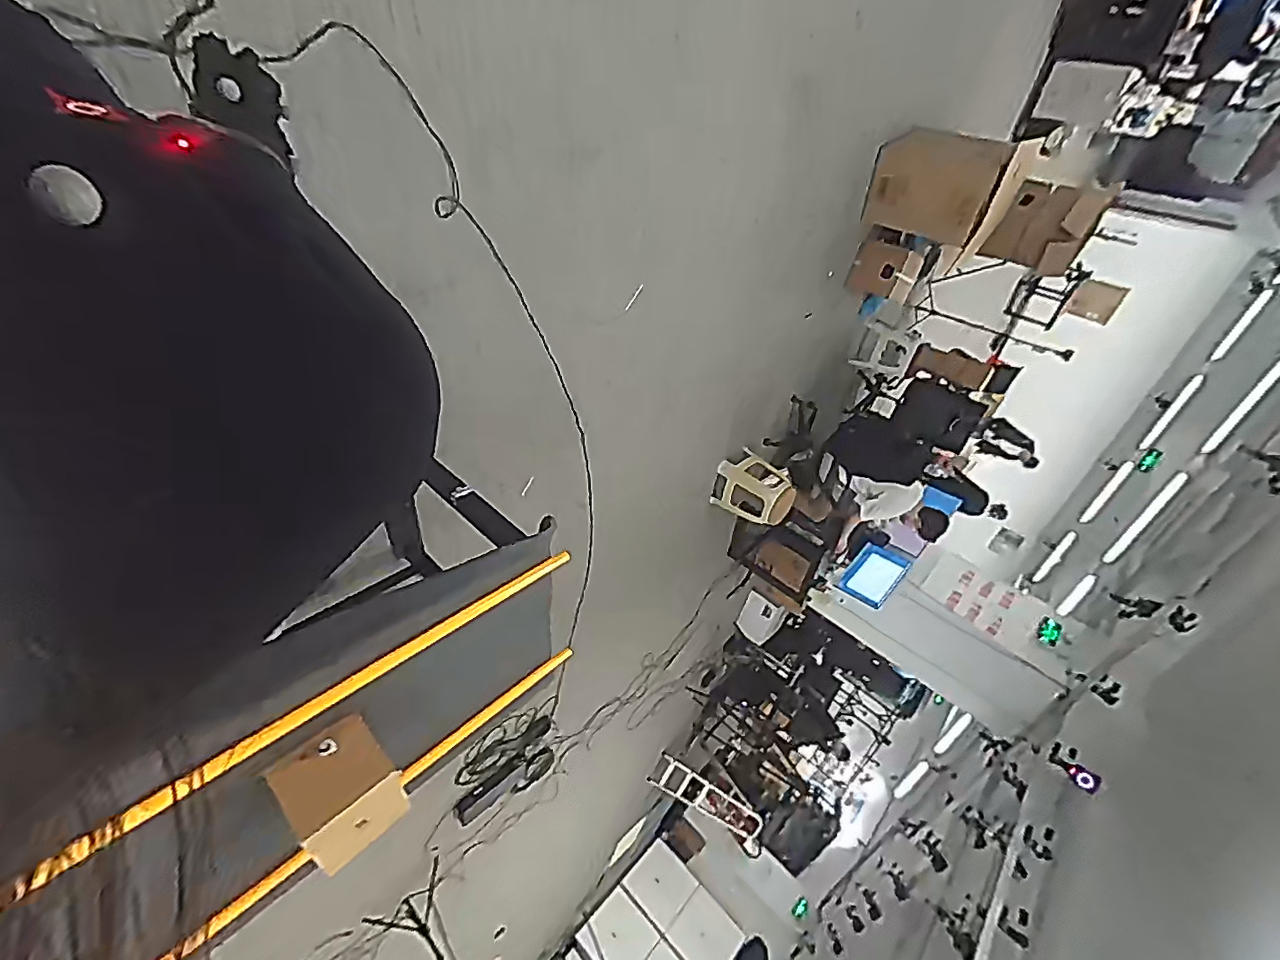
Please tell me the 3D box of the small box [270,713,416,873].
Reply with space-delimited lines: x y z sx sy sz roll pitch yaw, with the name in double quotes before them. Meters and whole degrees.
"small box" -0.557 0.583 1.024 0.168 0.176 0.179 -33 142 -37
